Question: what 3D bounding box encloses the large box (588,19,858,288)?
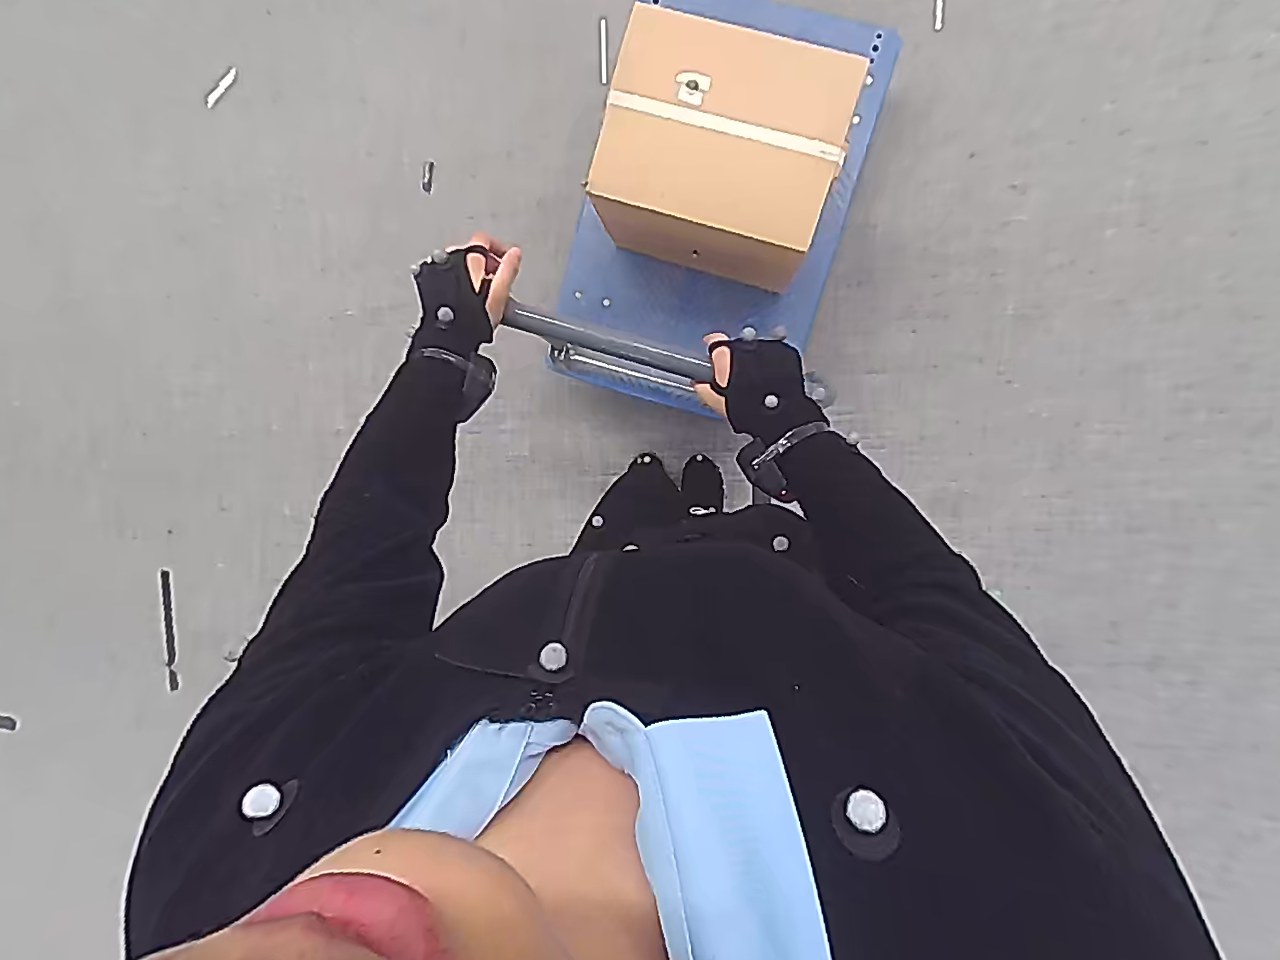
[{"bbox_3d":[0.156,-0.614,1.080,0.408,0.320,0.320,17,97,6],"label":"large box"}]
